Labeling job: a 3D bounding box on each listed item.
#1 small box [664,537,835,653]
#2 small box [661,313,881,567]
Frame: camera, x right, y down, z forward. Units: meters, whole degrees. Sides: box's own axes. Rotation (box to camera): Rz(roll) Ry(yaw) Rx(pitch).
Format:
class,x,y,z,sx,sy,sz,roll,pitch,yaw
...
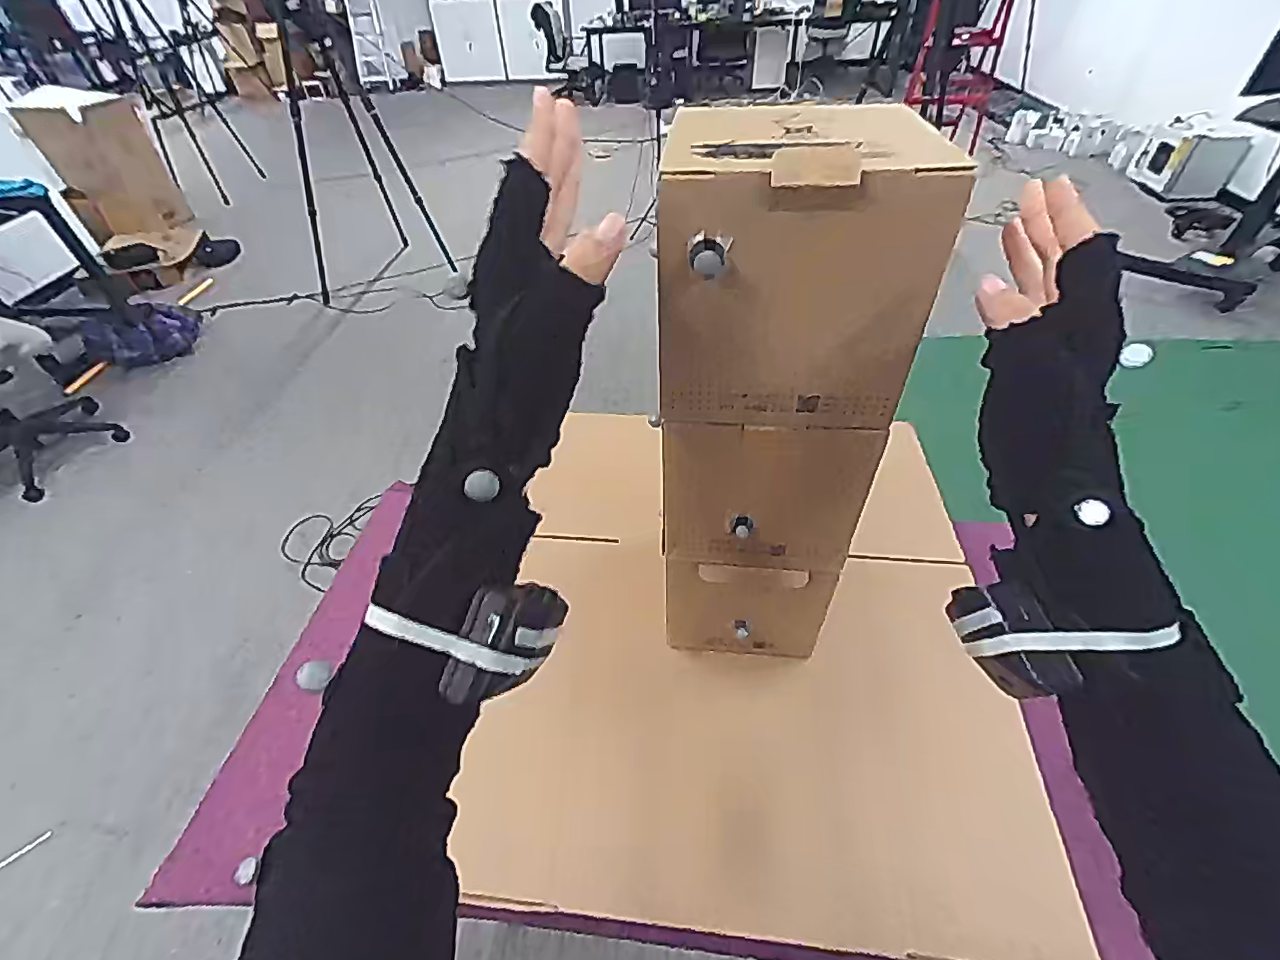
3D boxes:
class,x,y,z,sx,sy,sz,roll,pitch,yaw
small box,0.116,0.076,0.631,0.168,0.176,0.179,2,44,7
small box,0.108,-0.041,0.517,0.168,0.176,0.179,3,45,6
